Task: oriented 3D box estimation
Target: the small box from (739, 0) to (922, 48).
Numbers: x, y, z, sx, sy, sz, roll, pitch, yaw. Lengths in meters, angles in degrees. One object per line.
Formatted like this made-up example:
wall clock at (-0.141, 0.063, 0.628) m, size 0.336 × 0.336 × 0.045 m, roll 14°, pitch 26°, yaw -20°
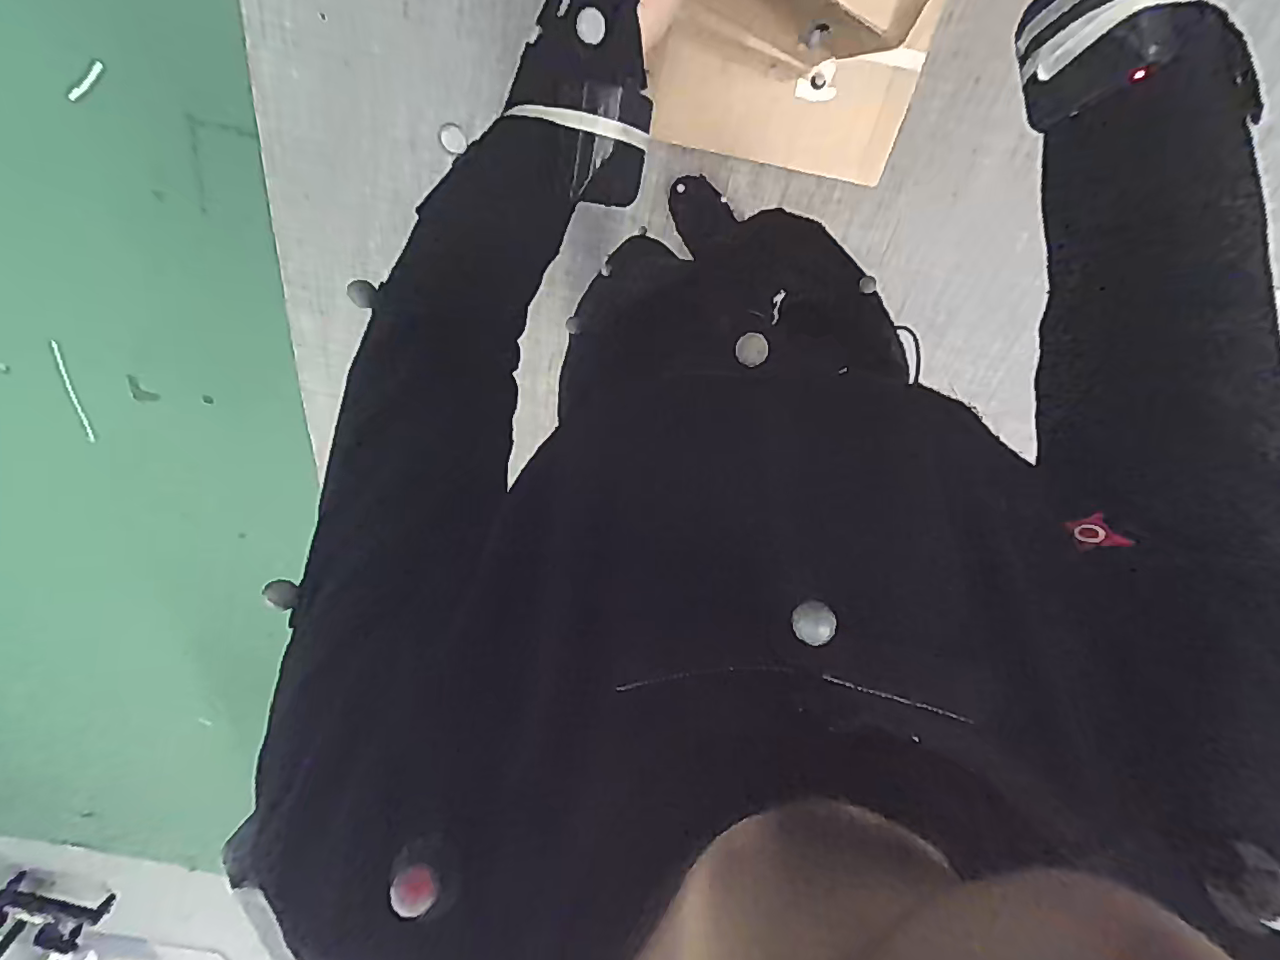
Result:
small box at (0.130, -0.427, 0.364) m, size 0.179 × 0.176 × 0.168 m, roll 22°, pitch 123°, yaw -11°

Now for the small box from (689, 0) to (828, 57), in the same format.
small box at (0.143, -0.527, 0.500) m, size 0.179 × 0.176 × 0.168 m, roll 20°, pitch 122°, yaw -9°

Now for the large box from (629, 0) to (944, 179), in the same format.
large box at (0.206, -0.701, 0.868) m, size 0.408 × 0.320 × 0.320 m, roll 10°, pitch 124°, yaw -3°
